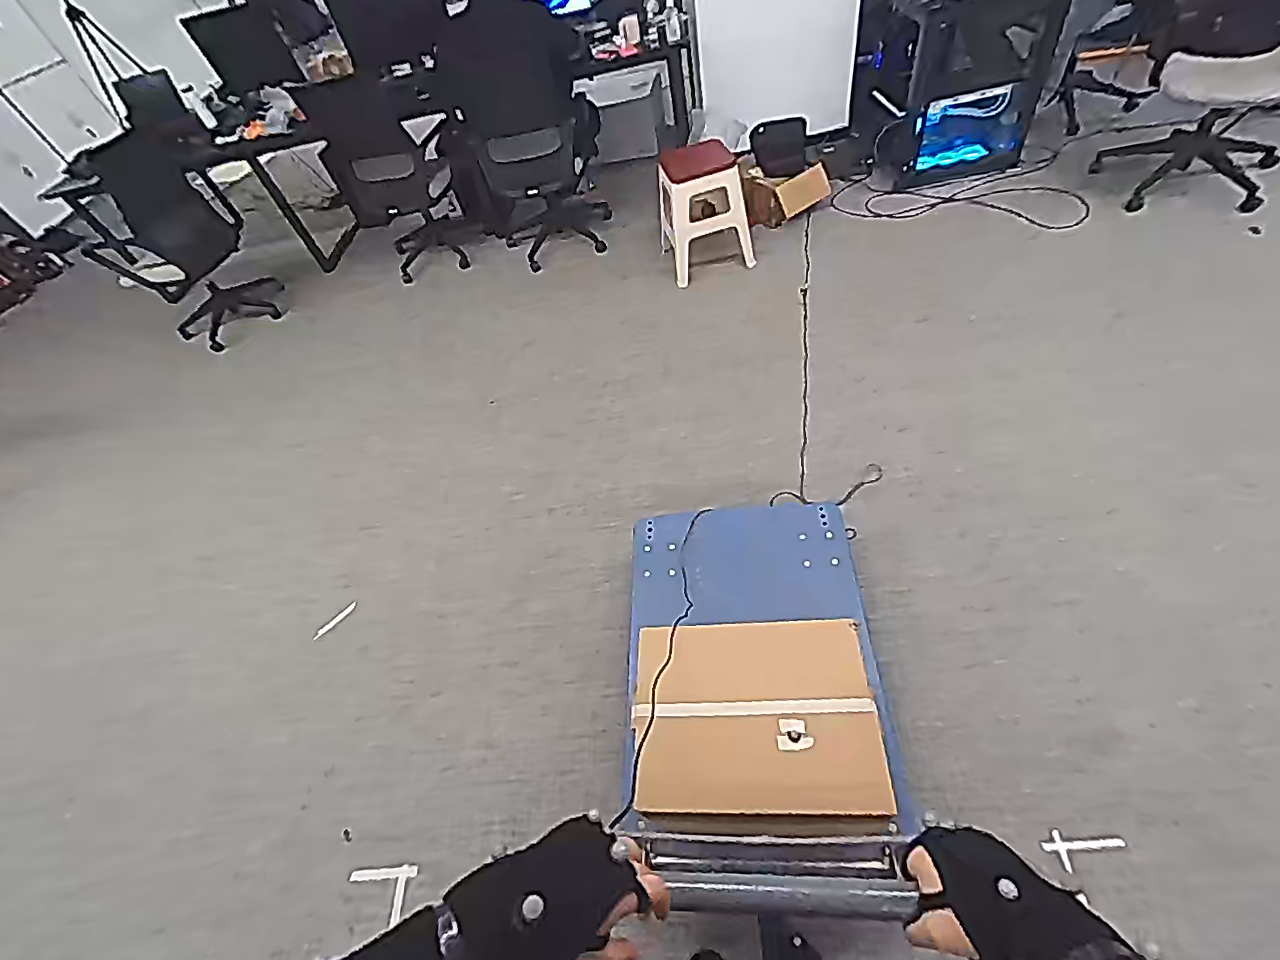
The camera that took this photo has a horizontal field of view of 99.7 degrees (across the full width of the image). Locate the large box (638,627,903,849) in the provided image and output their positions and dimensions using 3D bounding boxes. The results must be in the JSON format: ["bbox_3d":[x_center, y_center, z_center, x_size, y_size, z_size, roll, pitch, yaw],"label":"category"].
[{"bbox_3d":[0.217,0.496,1.023,0.408,0.320,0.320,-5,51,9],"label":"large box"}]
